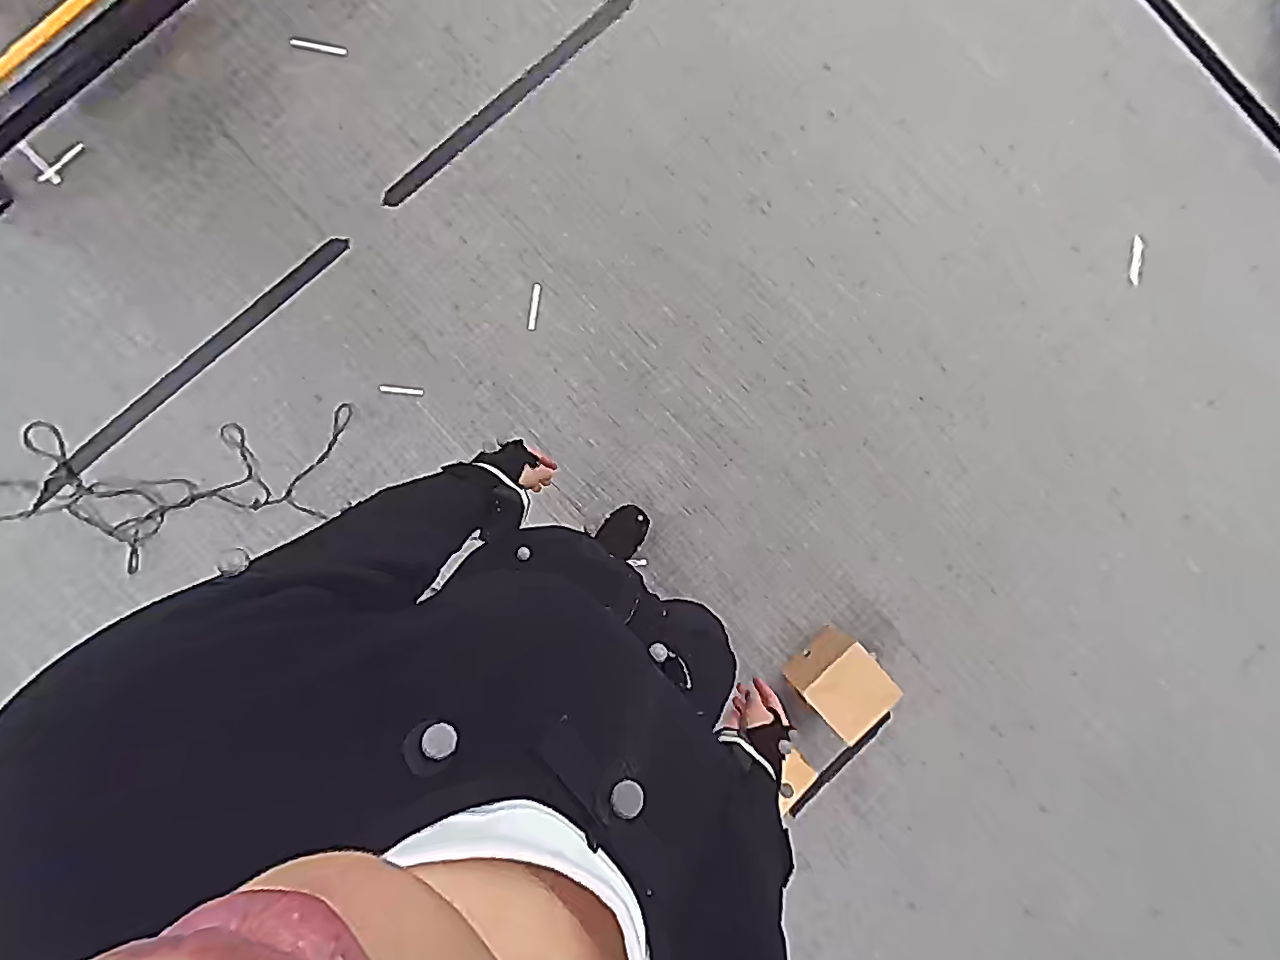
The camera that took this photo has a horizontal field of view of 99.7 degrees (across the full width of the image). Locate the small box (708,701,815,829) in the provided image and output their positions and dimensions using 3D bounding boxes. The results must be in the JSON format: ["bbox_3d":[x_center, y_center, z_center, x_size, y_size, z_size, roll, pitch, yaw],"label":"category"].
[{"bbox_3d":[0.280,0.672,1.296,0.168,0.176,0.179,43,87,0],"label":"small box"}]

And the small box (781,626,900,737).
[{"bbox_3d":[0.477,0.486,1.302,0.179,0.176,0.168,-42,90,-2],"label":"small box"}]
